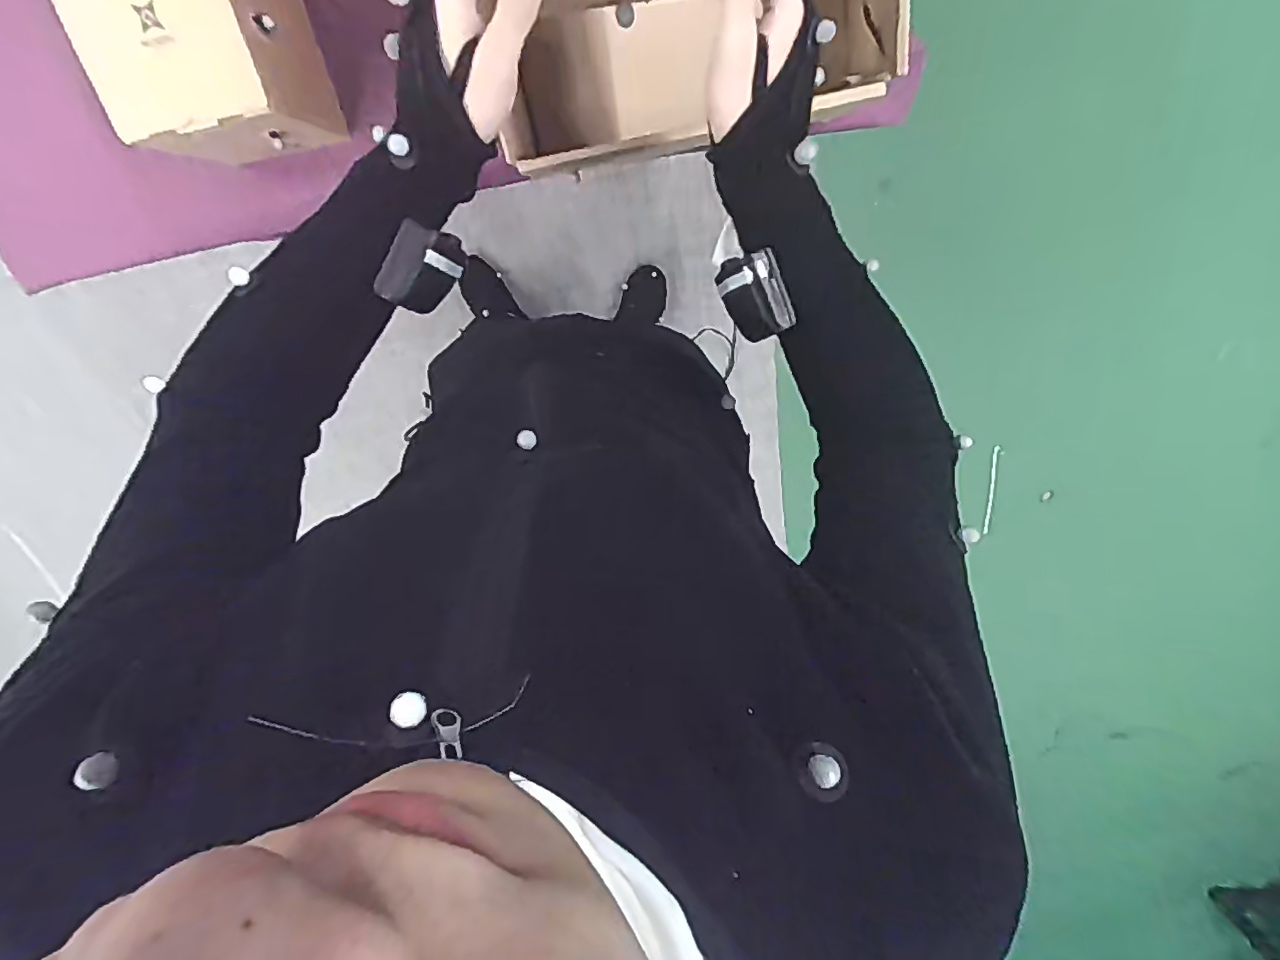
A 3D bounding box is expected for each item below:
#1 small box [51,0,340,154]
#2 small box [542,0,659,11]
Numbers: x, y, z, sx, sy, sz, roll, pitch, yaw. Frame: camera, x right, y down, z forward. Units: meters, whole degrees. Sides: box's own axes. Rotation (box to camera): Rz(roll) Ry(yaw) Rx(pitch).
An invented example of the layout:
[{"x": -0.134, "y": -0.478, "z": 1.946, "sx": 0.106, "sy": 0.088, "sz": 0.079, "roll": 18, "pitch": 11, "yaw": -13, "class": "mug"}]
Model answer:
[{"x": -0.465, "y": -0.469, "z": 0.585, "sx": 0.168, "sy": 0.176, "sz": 0.179, "roll": -9, "pitch": 113, "yaw": 3, "class": "small box"}, {"x": -0.011, "y": -0.431, "z": 0.349, "sx": 0.168, "sy": 0.176, "sz": 0.179, "roll": -6, "pitch": 128, "yaw": 1, "class": "small box"}]
